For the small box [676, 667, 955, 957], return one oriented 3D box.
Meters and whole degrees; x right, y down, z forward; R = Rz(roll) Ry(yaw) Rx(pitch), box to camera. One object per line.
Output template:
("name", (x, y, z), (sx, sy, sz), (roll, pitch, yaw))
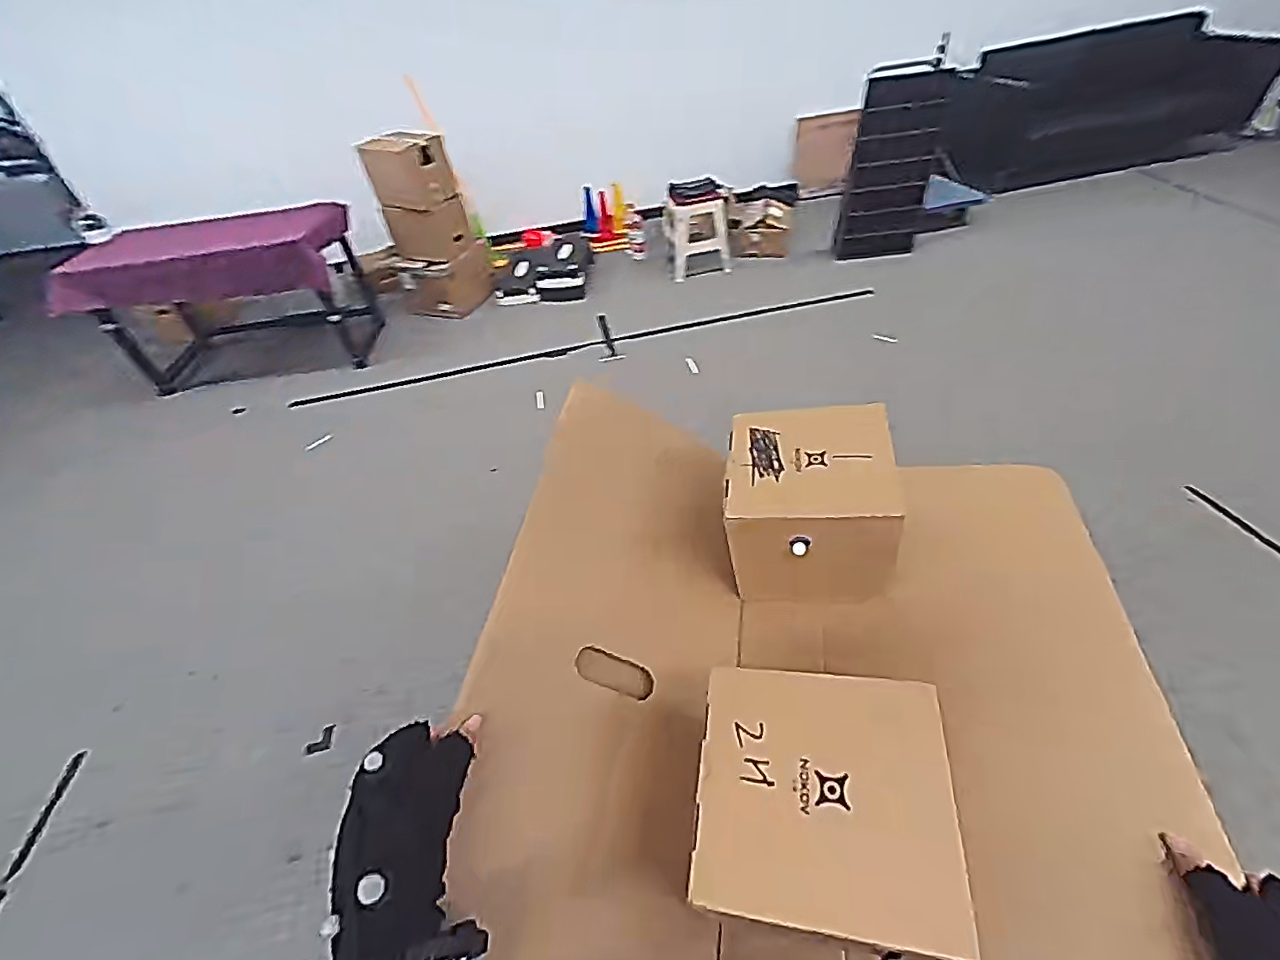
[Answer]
("small box", (0.140, 0.276, 0.456), (0.179, 0.176, 0.168), (-2, 48, 17))
